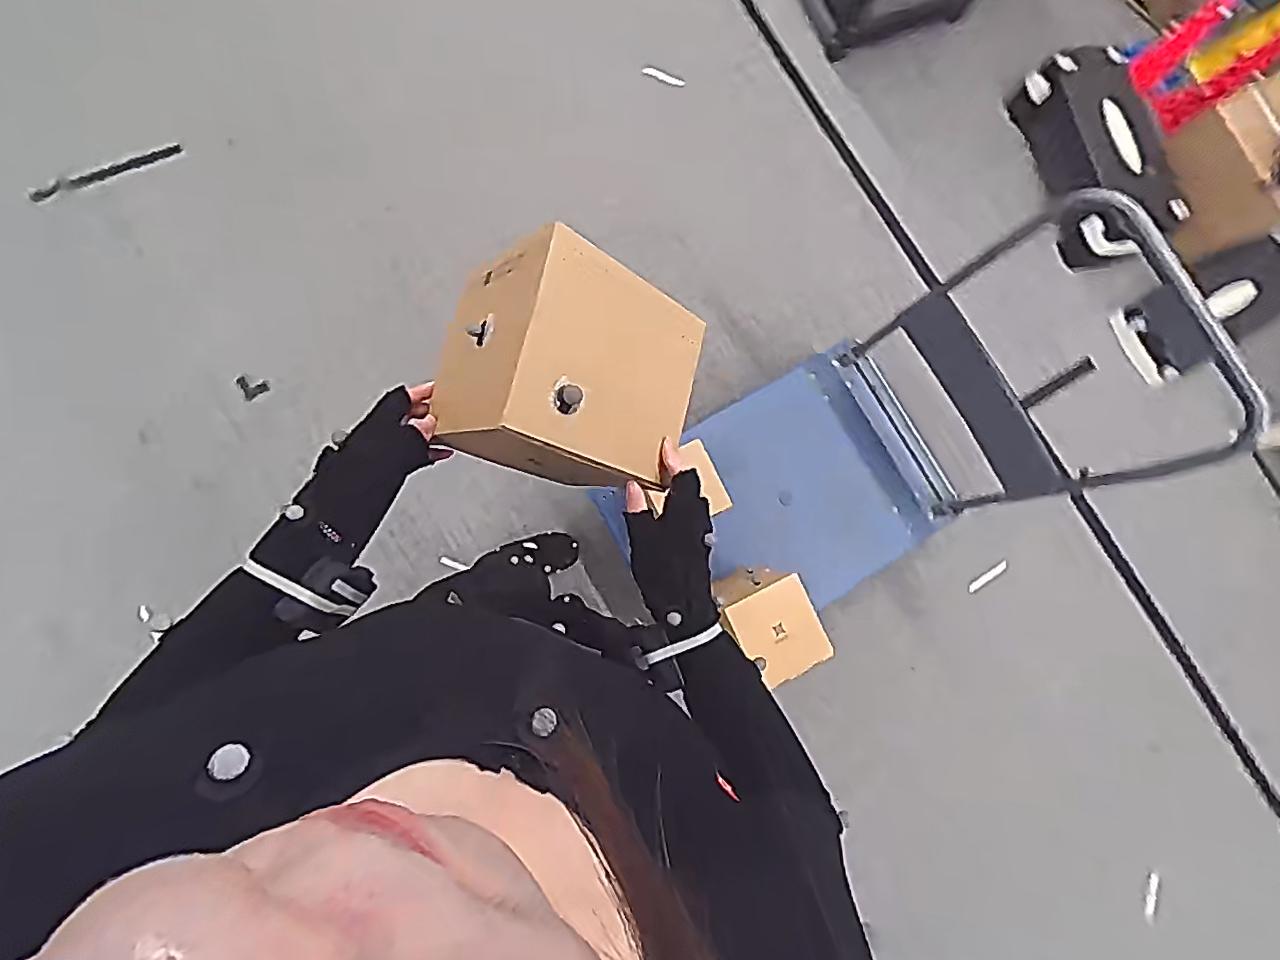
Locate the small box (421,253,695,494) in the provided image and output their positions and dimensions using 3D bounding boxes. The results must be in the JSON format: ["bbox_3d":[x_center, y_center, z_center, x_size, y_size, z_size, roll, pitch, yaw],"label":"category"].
[{"bbox_3d":[-0.073,-0.090,0.509,0.179,0.168,0.176,19,80,-40],"label":"small box"}]

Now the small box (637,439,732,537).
[{"bbox_3d":[0.093,0.025,1.295,0.168,0.176,0.179,-25,86,-11],"label":"small box"}]

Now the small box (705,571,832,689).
[{"bbox_3d":[0.255,0.298,1.116,0.168,0.176,0.179,-24,87,-11],"label":"small box"}]
